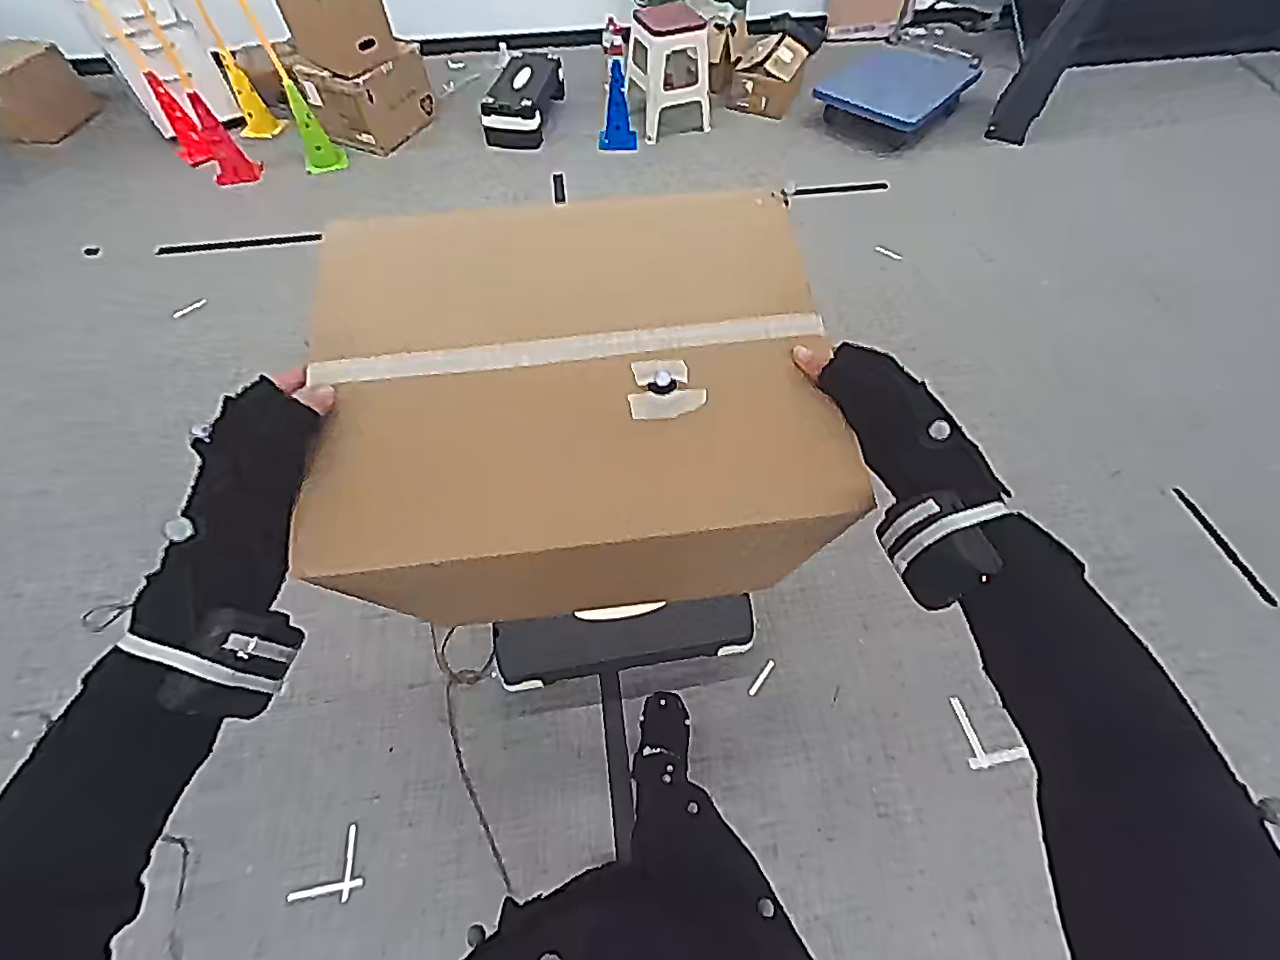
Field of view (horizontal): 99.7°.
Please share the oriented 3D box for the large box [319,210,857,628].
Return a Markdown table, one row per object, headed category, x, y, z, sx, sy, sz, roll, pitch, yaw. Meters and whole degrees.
| category | x | y | z | sx | sy | sz | roll | pitch | yaw |
| --- | --- | --- | --- | --- | --- | --- | --- | --- | --- |
| large box | -0.053 | -0.039 | 0.585 | 0.408 | 0.320 | 0.320 | -6 | 69 | -3 |
